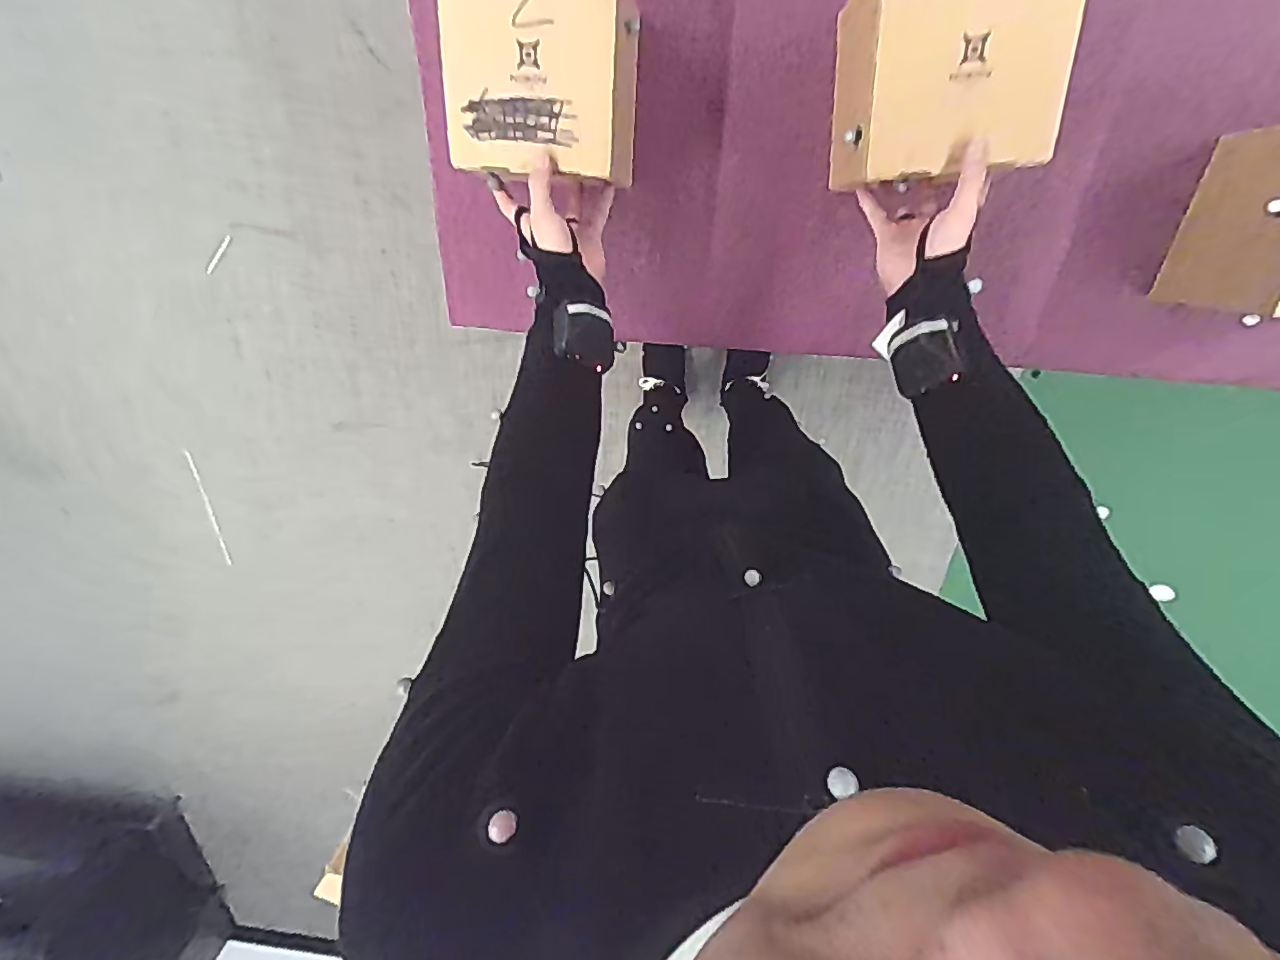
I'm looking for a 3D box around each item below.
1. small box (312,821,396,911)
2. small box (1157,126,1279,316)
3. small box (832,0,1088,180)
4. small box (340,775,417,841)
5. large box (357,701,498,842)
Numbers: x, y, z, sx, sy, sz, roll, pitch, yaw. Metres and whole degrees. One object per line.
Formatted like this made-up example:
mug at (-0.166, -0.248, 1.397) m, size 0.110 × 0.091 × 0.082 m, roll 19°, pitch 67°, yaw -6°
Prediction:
small box at (-0.946, 1.283, 1.806) m, size 0.168 × 0.176 × 0.179 m, roll 32°, pitch 115°, yaw -10°
small box at (0.706, -0.262, 0.556) m, size 0.168 × 0.176 × 0.179 m, roll 7°, pitch 116°, yaw 4°
small box at (0.297, -0.407, 0.536) m, size 0.168 × 0.176 × 0.179 m, roll -2°, pitch 117°, yaw 7°
small box at (-0.937, 1.215, 1.955) m, size 0.168 × 0.176 × 0.179 m, roll 32°, pitch 114°, yaw -10°
large box at (-0.853, 1.177, 2.201) m, size 0.408 × 0.320 × 0.320 m, roll 26°, pitch 117°, yaw -7°
